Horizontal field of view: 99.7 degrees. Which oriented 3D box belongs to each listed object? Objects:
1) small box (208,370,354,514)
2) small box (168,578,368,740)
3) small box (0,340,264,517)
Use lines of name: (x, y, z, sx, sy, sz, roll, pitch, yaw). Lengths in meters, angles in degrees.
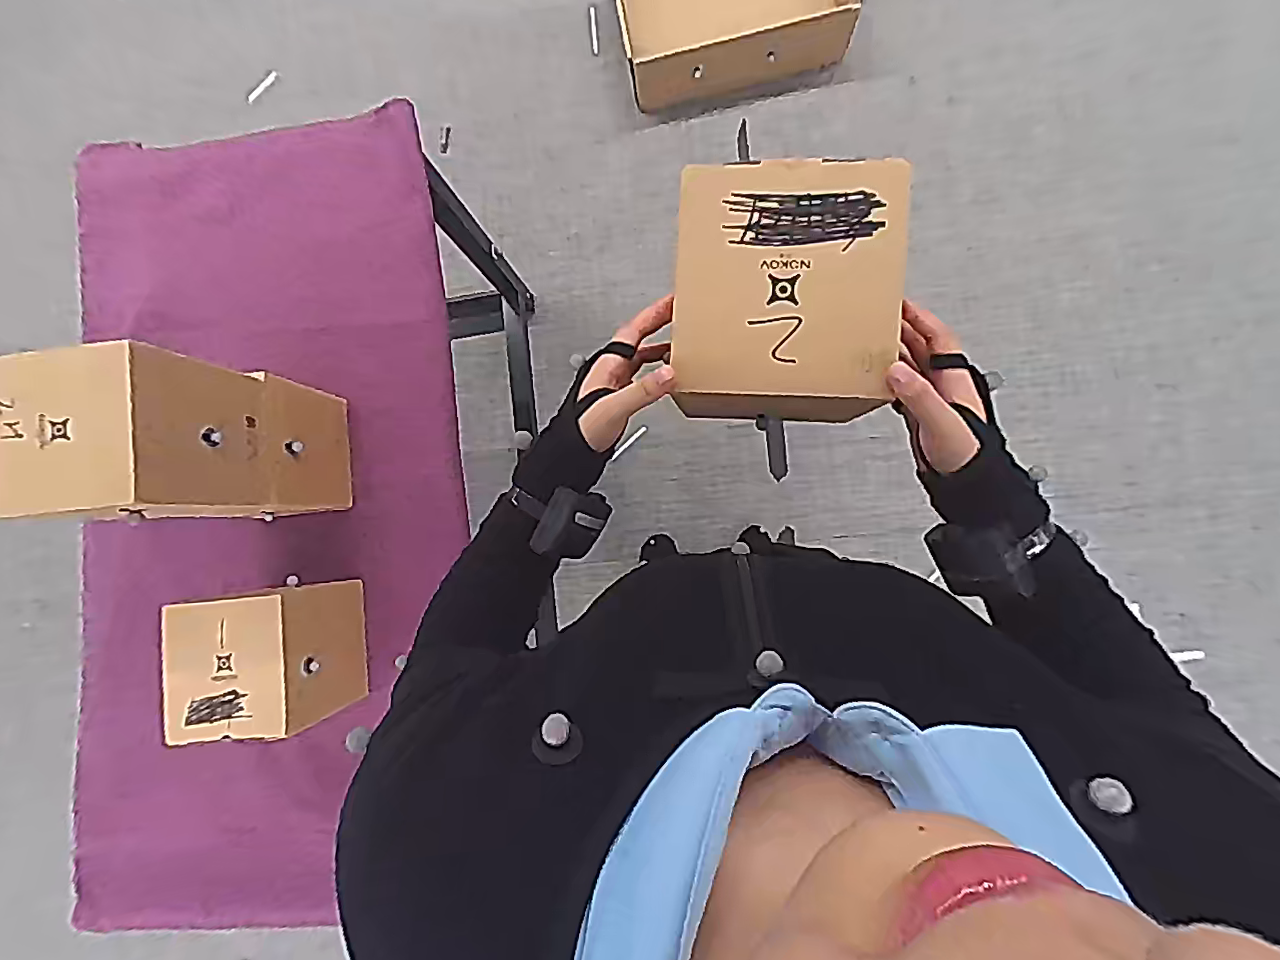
small box: (-0.540, -0.044, 0.779, 0.168, 0.176, 0.179, -6, 86, 6)
small box: (-0.504, 0.238, 0.753, 0.168, 0.176, 0.179, -6, 85, 5)
small box: (-0.565, -0.047, 0.616, 0.179, 0.176, 0.168, -6, 86, 6)
